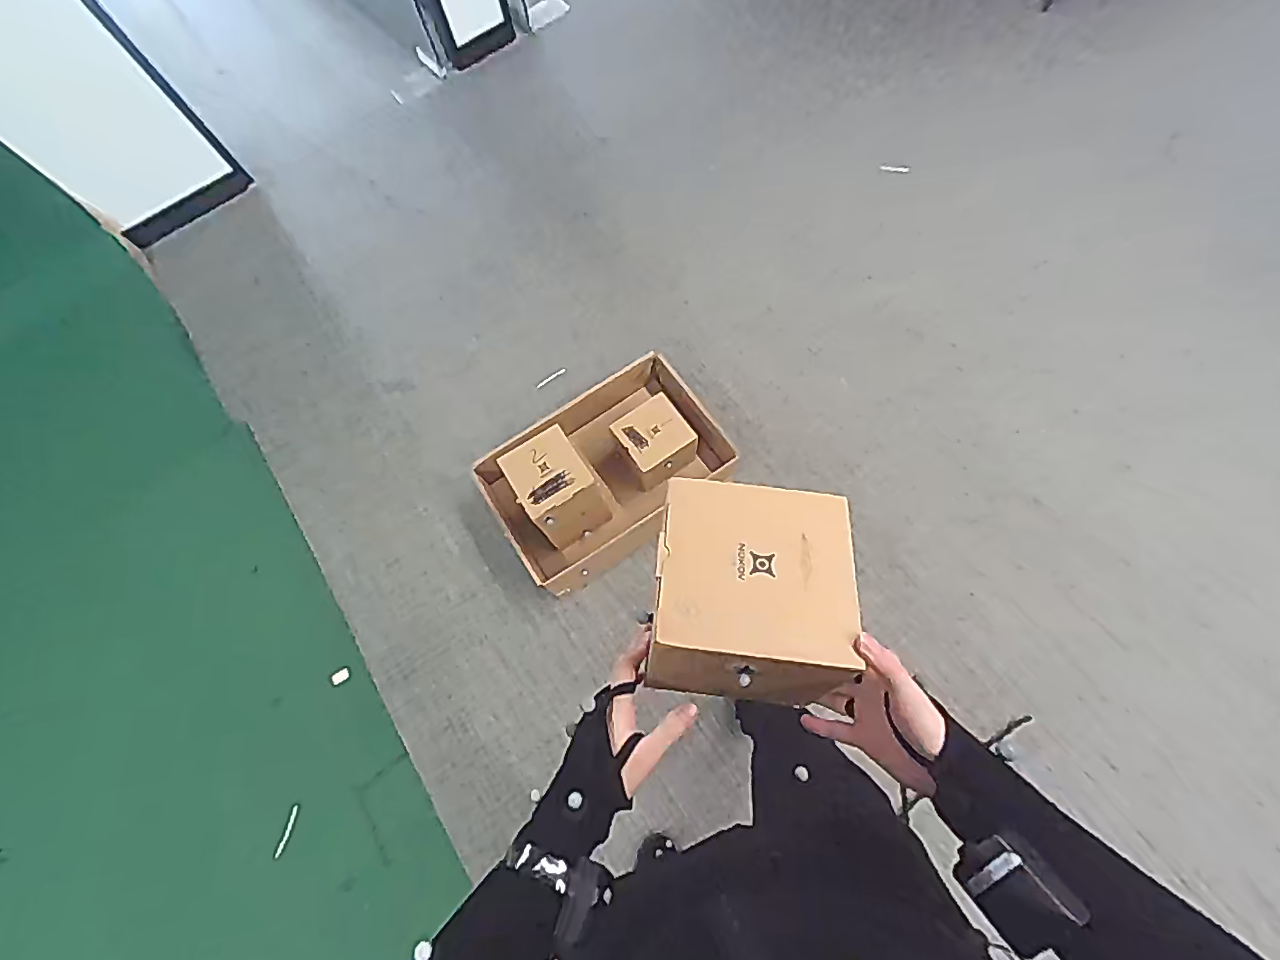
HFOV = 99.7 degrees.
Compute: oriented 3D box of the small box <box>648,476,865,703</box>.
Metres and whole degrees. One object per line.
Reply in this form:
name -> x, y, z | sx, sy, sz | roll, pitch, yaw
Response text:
small box -> 0.103, 0.116, 0.544 | 0.179, 0.176, 0.168 | 7, 58, 2
